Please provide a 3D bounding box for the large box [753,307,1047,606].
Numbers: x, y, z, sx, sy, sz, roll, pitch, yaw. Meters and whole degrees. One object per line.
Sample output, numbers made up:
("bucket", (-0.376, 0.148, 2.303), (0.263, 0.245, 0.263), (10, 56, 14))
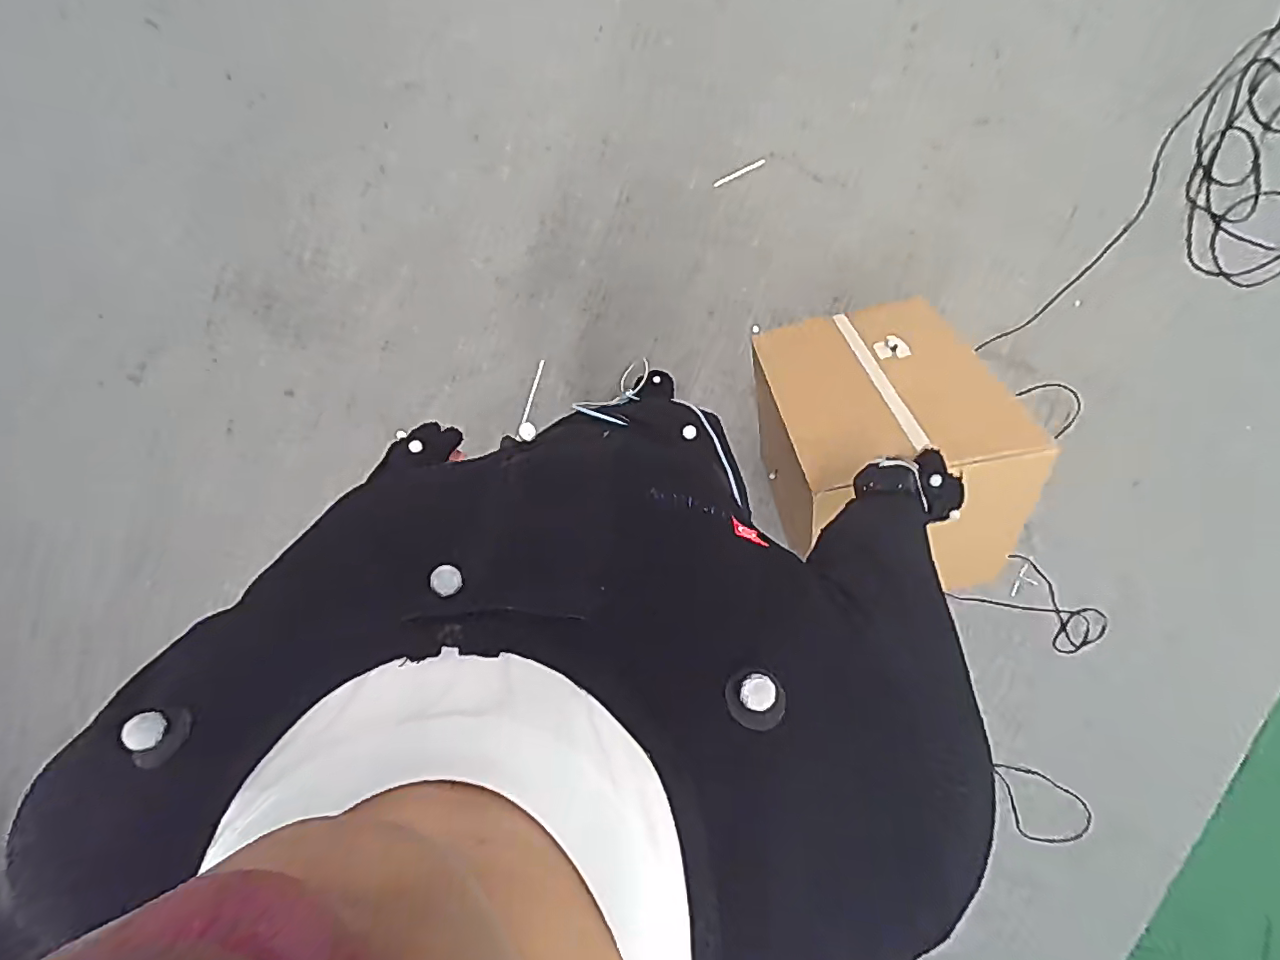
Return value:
("large box", (0.403, -0.044, 0.959), (0.320, 0.408, 0.320), (-10, 135, 5))
